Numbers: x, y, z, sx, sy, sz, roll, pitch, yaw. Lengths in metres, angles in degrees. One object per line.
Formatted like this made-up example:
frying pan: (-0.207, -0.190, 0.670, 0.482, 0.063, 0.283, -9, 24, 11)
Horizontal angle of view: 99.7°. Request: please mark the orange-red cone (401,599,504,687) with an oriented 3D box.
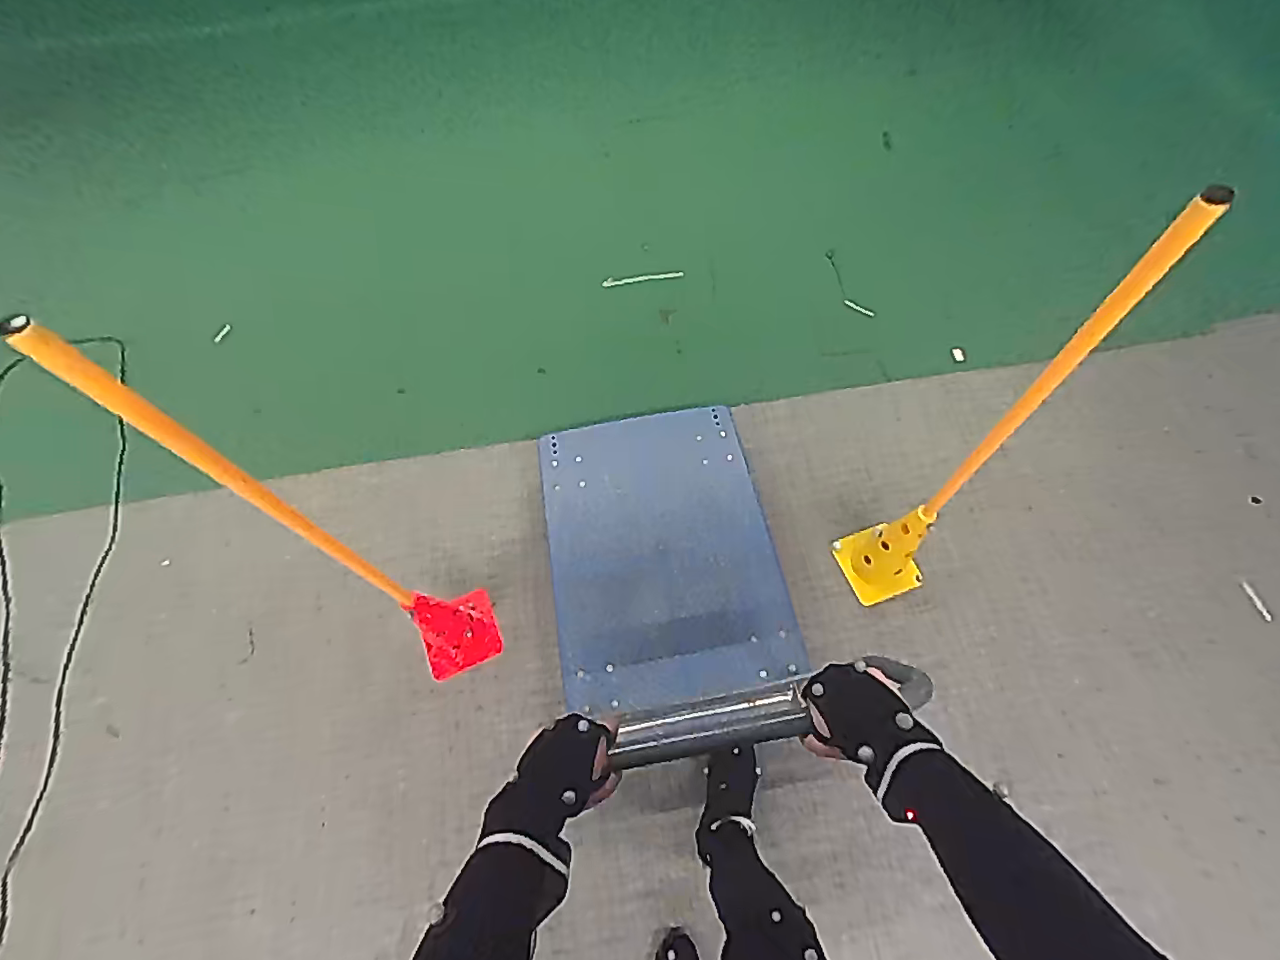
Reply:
orange-red cone: (-0.498, 0.367, 1.339, 0.199, 0.360, 0.198, -23, 63, -8)
